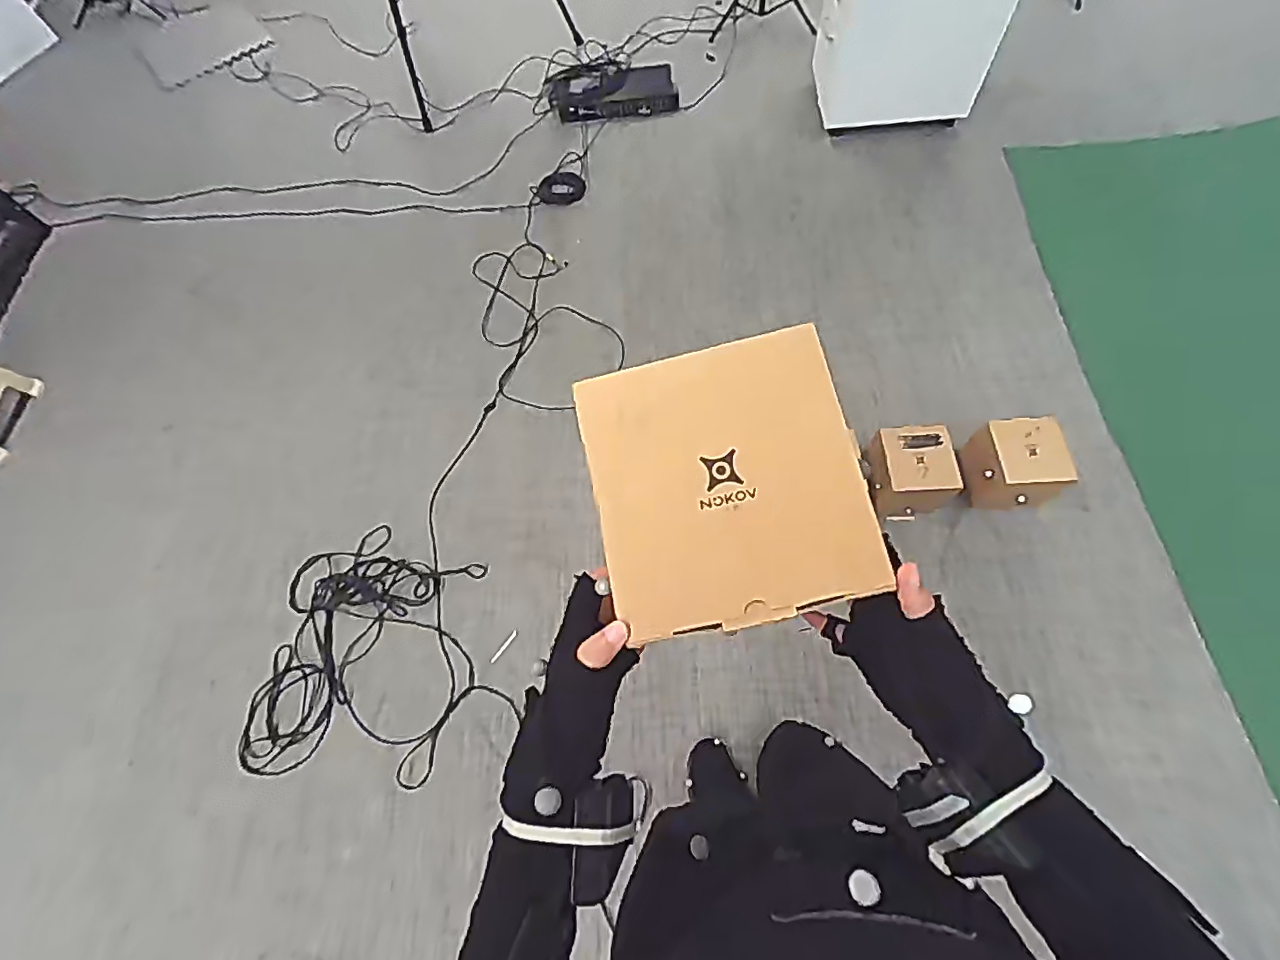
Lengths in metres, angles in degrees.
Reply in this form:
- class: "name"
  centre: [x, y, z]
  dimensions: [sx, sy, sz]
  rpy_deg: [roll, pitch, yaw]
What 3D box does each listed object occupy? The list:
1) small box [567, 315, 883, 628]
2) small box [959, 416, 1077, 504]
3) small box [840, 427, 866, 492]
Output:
- class: "small box"
  centre: [0.054, 0.008, 0.415]
  dimensions: [0.168, 0.176, 0.179]
  rpy_deg: [-14, 76, 4]
- class: "small box"
  centre: [0.950, -0.044, 1.376]
  dimensions: [0.168, 0.176, 0.179]
  rpy_deg: [-3, 66, 4]
- class: "small box"
  centre: [0.472, -0.018, 1.411]
  dimensions: [0.168, 0.176, 0.179]
  rpy_deg: [-4, 65, 5]
